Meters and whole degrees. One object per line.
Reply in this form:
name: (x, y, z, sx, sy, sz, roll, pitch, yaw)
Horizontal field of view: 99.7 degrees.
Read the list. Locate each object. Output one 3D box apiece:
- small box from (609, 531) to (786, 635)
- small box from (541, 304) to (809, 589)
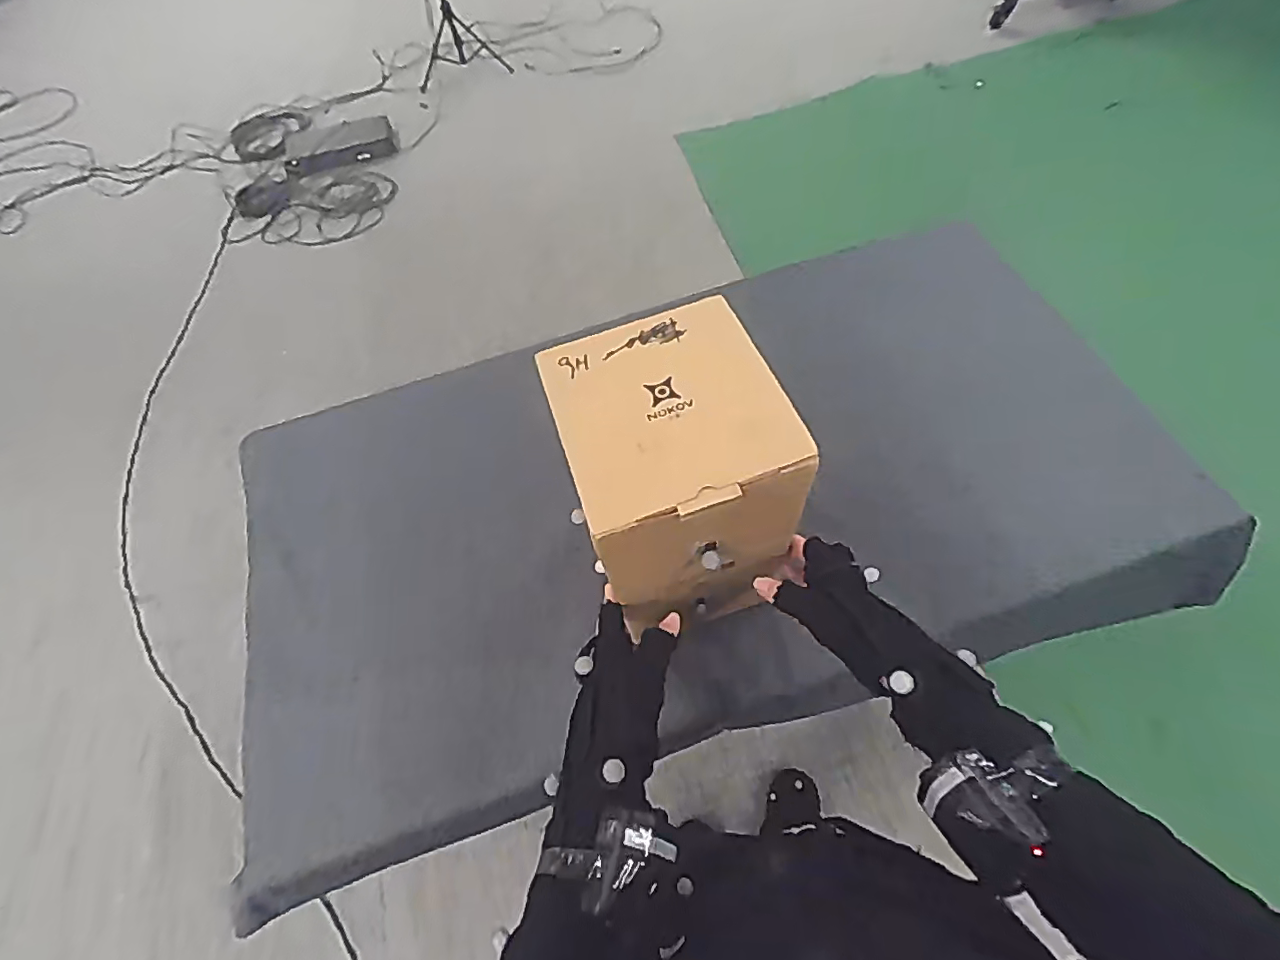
small box: (0.046, 0.062, 0.627, 0.179, 0.176, 0.168, -18, 60, -3)
small box: (0.027, -0.017, 0.485, 0.168, 0.176, 0.179, -19, 61, -5)
